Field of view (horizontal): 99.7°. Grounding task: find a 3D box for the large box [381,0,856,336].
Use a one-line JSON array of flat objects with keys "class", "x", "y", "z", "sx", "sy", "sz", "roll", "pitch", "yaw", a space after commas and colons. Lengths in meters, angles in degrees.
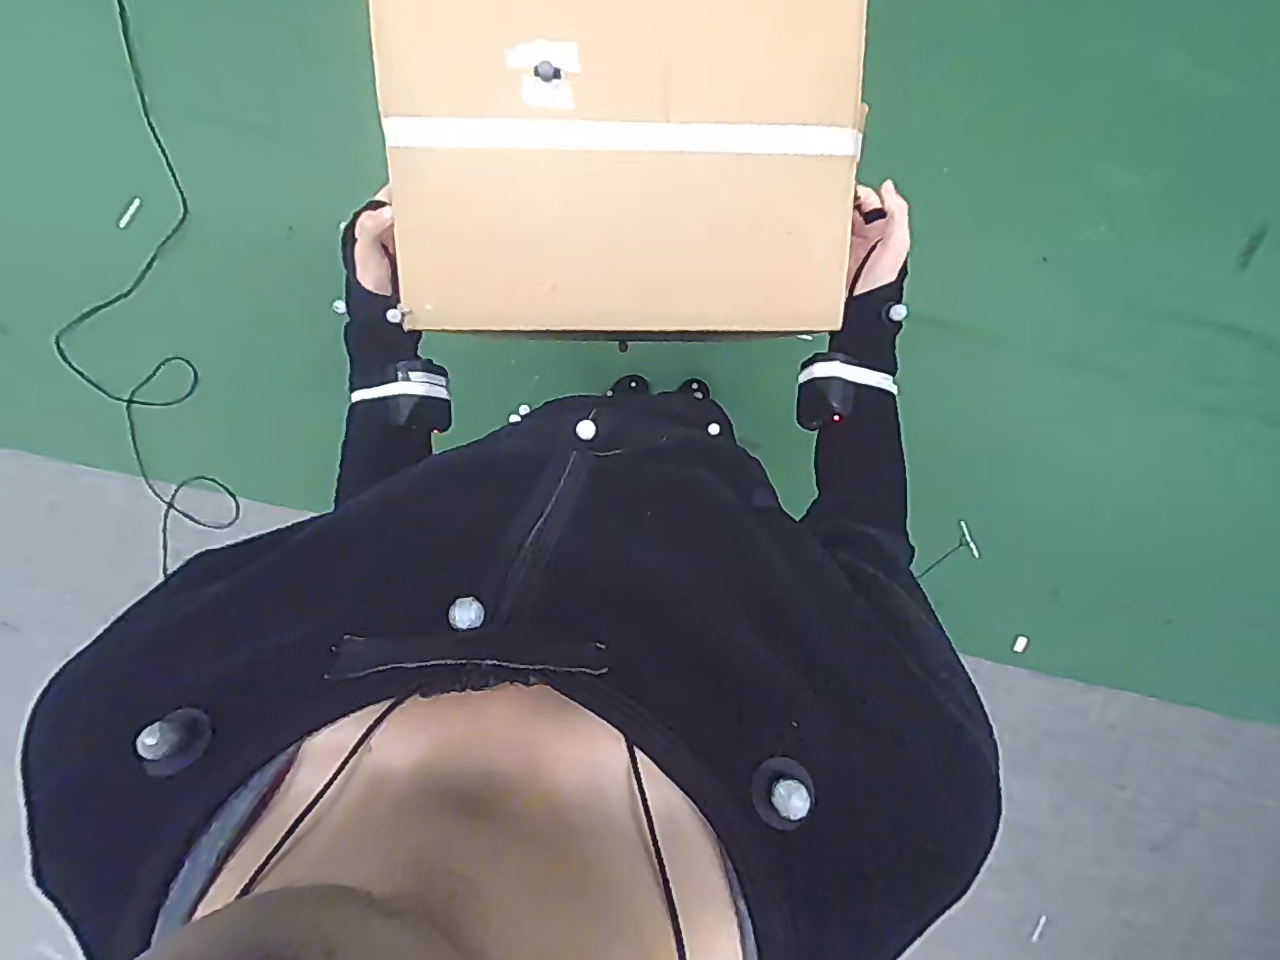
[{"class": "large box", "x": -0.019, "y": -0.327, "z": 0.621, "sx": 0.408, "sy": 0.320, "sz": 0.320, "roll": -1, "pitch": 103, "yaw": -3}]
